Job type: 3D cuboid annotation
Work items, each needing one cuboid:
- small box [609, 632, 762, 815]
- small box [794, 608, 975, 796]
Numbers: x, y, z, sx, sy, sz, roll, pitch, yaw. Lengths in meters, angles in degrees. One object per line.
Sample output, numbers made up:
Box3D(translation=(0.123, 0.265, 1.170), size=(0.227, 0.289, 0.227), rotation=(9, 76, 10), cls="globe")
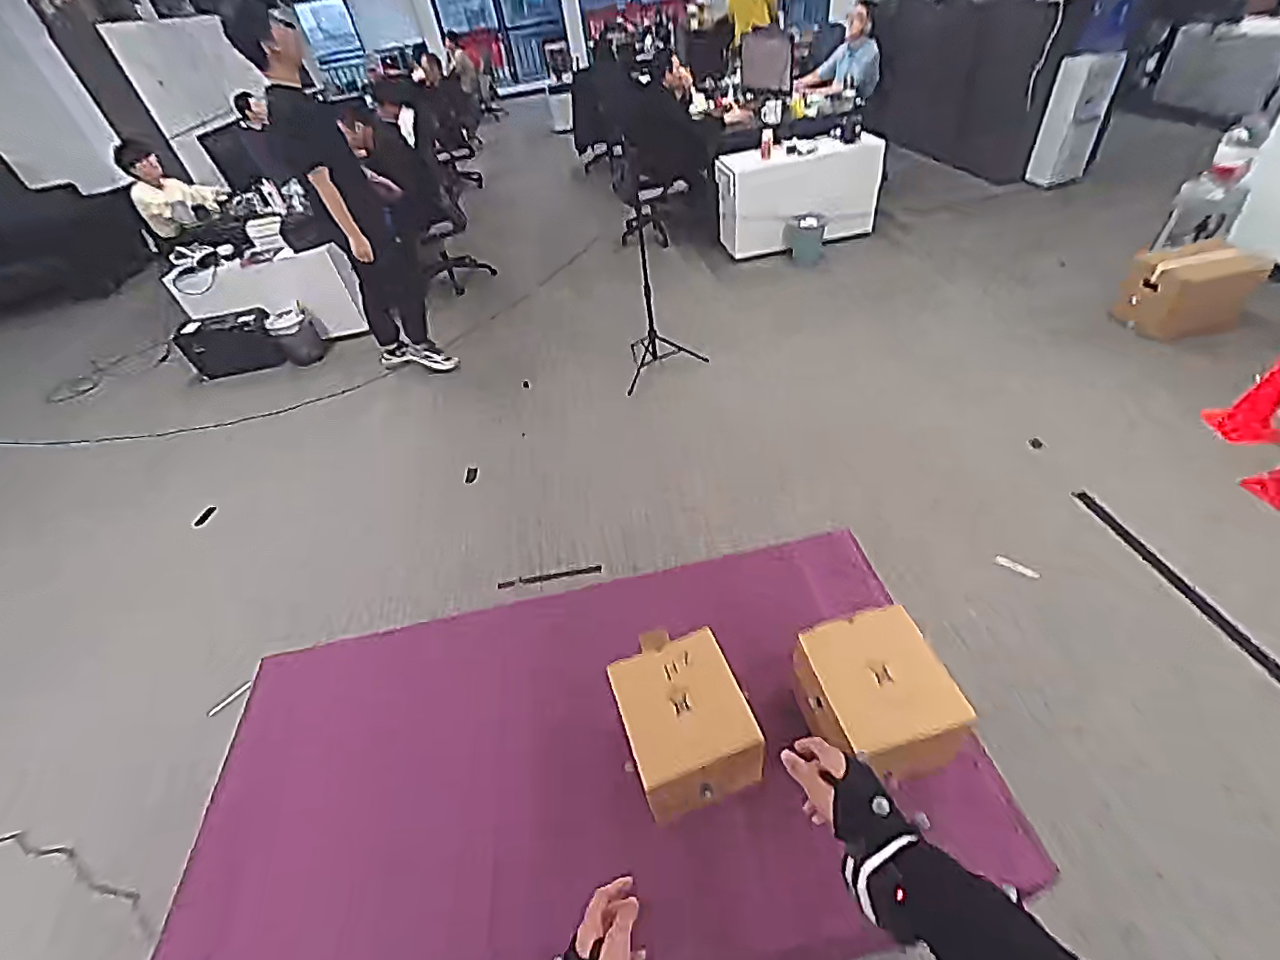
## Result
Box3D(translation=(0.067, 0.363, 0.795), size=(0.168, 0.176, 0.179), rotation=(-18, 43, -9), cls="small box")
Box3D(translation=(0.336, 0.322, 0.787), size=(0.168, 0.176, 0.179), rotation=(-15, 43, -4), cls="small box")
